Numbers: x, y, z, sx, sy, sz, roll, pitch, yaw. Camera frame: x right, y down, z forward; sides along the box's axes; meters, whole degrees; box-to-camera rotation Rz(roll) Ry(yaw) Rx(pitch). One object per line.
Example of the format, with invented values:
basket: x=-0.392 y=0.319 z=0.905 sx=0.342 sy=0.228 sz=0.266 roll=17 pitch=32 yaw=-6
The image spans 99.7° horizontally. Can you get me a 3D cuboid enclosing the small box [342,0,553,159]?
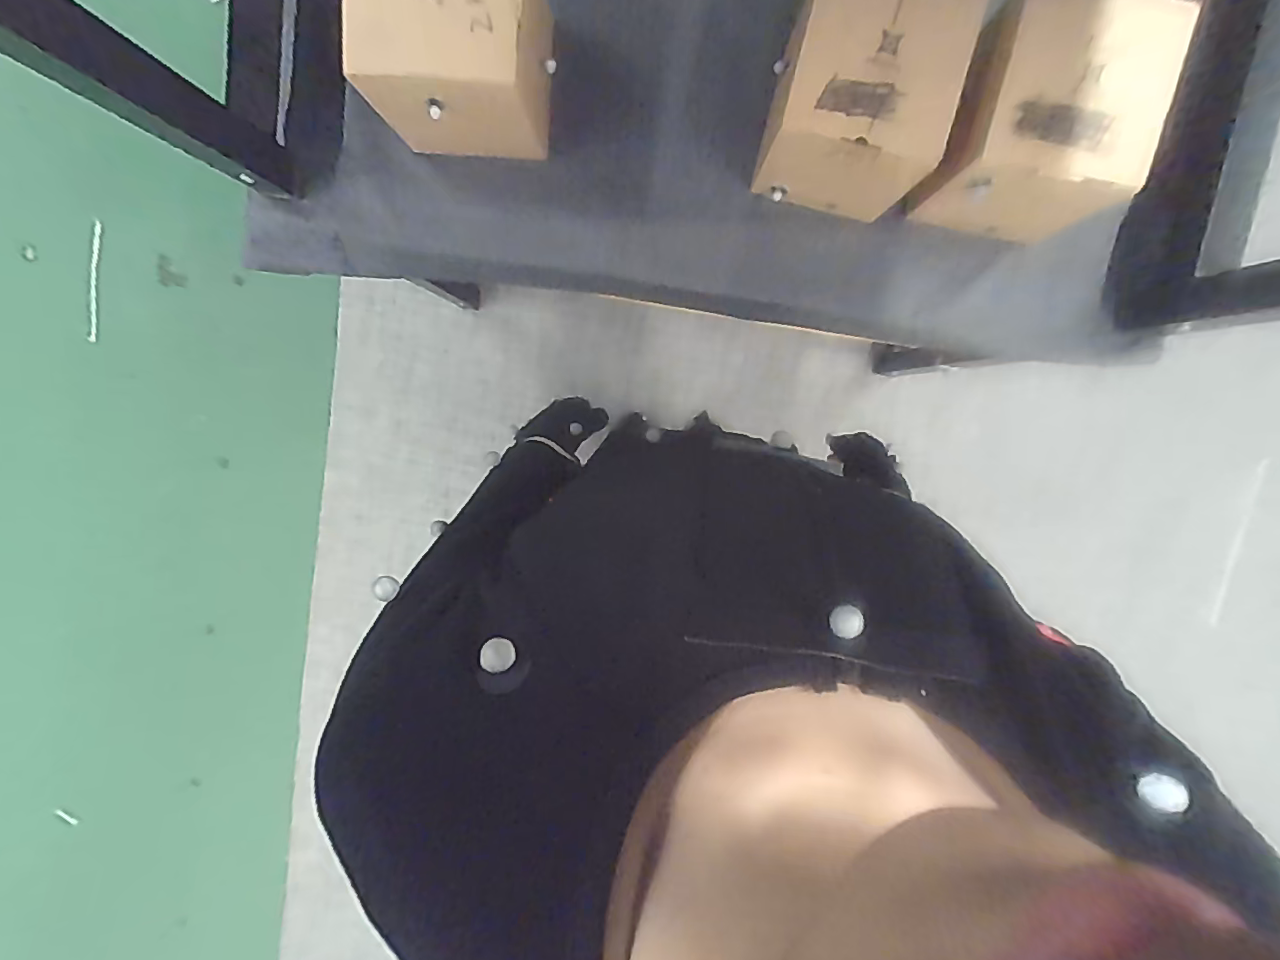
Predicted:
small box: x=-0.204 y=-0.487 z=0.609 sx=0.179 sy=0.176 sz=0.168 roll=4 pitch=98 yaw=0
